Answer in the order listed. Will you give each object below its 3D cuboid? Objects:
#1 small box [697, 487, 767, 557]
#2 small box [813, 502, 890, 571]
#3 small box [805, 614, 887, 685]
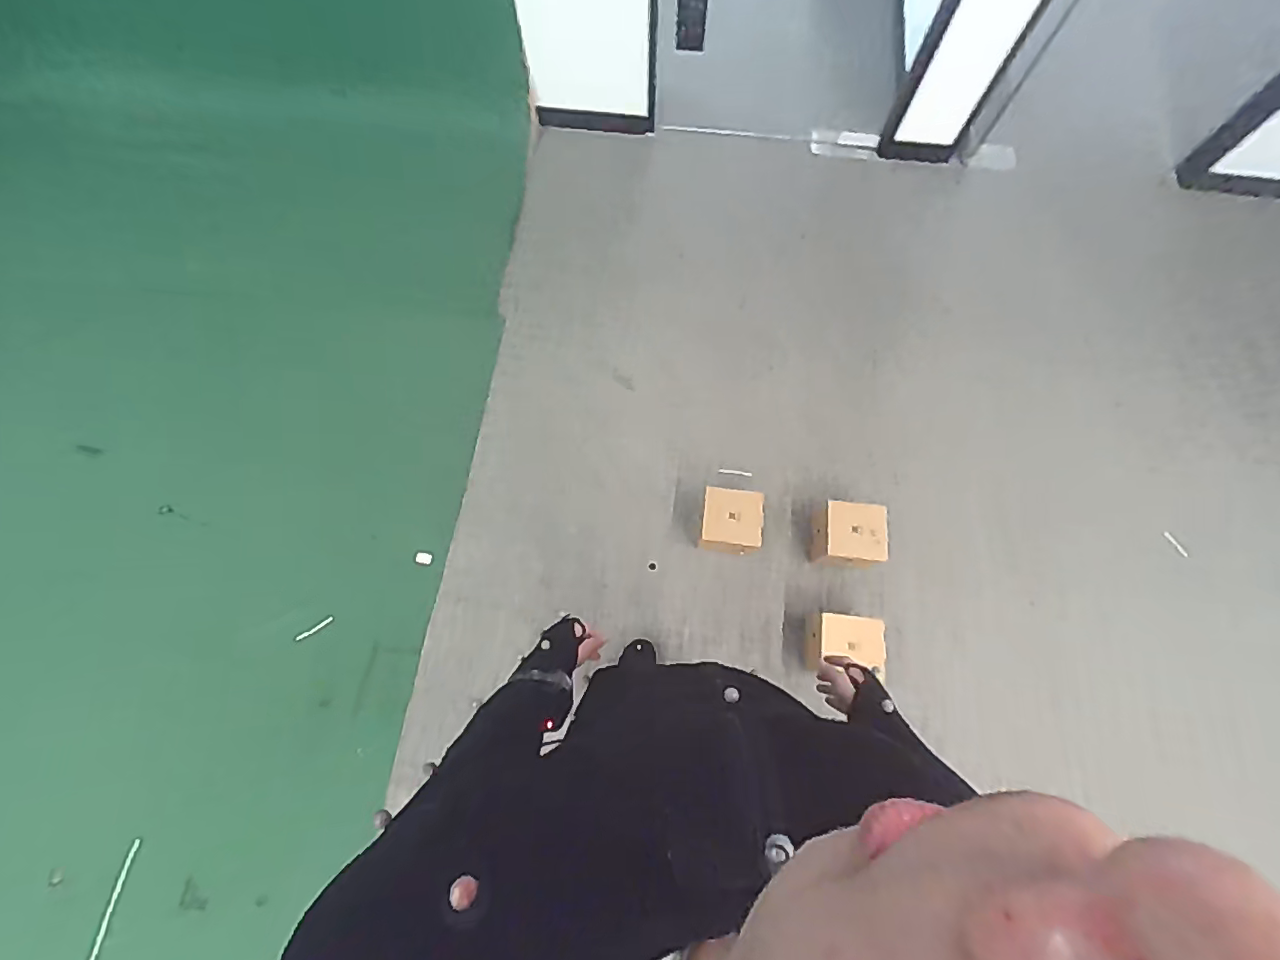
[{"bbox_3d":[0.275,0.133,1.642,0.179,0.176,0.168,8,72,3],"label":"small box"},{"bbox_3d":[0.630,0.175,1.628,0.179,0.176,0.168,7,73,2],"label":"small box"},{"bbox_3d":[0.578,0.482,1.533,0.179,0.176,0.168,7,72,1],"label":"small box"}]
